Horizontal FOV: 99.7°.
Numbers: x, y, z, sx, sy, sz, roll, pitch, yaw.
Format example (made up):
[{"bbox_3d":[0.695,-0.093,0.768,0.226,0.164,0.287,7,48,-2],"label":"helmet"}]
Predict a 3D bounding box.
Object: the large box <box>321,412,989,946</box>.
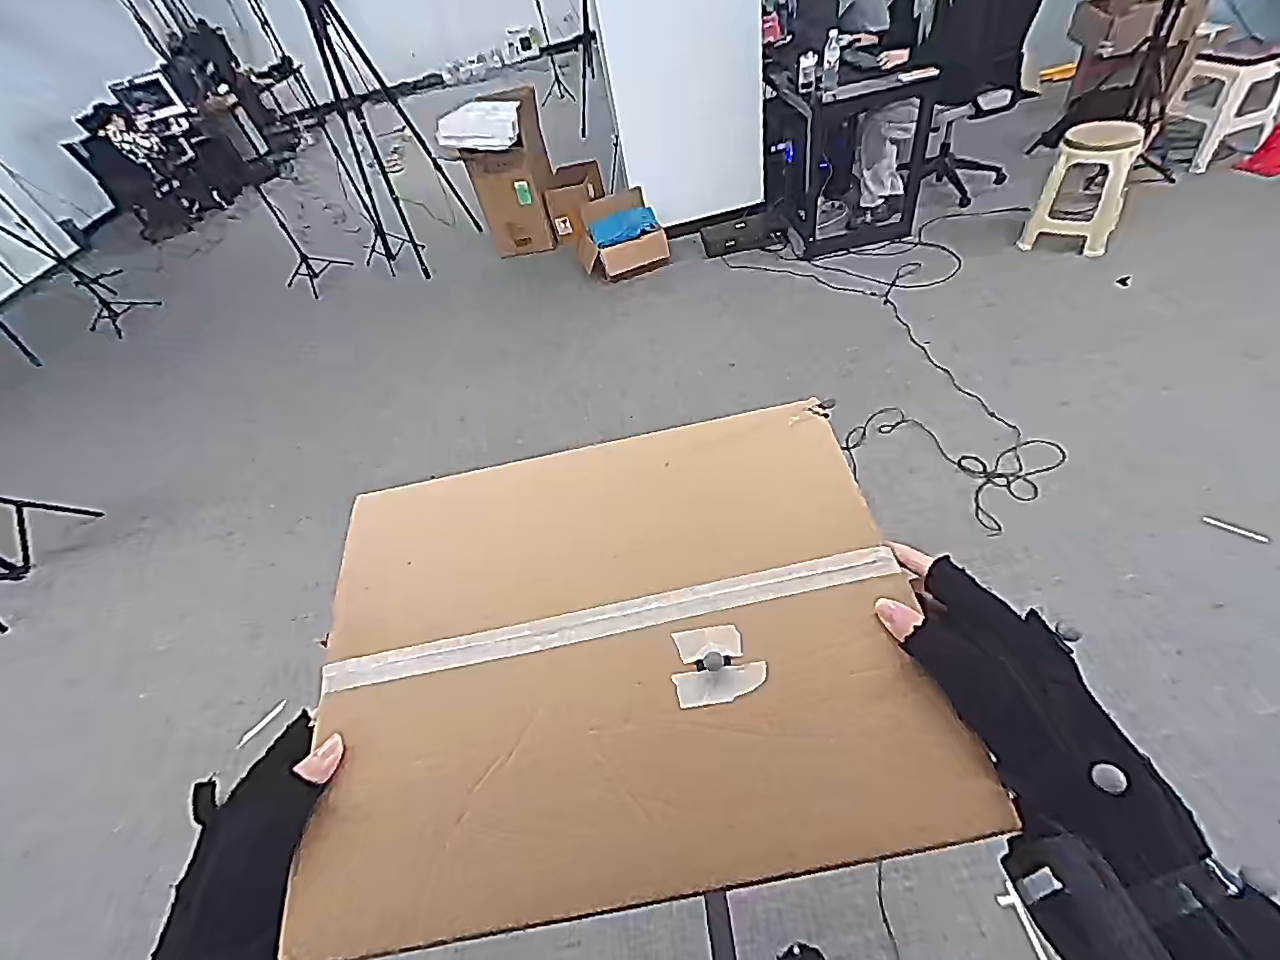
[{"bbox_3d":[0.002,0.187,0.515,0.408,0.320,0.320,-12,56,1],"label":"large box"}]
